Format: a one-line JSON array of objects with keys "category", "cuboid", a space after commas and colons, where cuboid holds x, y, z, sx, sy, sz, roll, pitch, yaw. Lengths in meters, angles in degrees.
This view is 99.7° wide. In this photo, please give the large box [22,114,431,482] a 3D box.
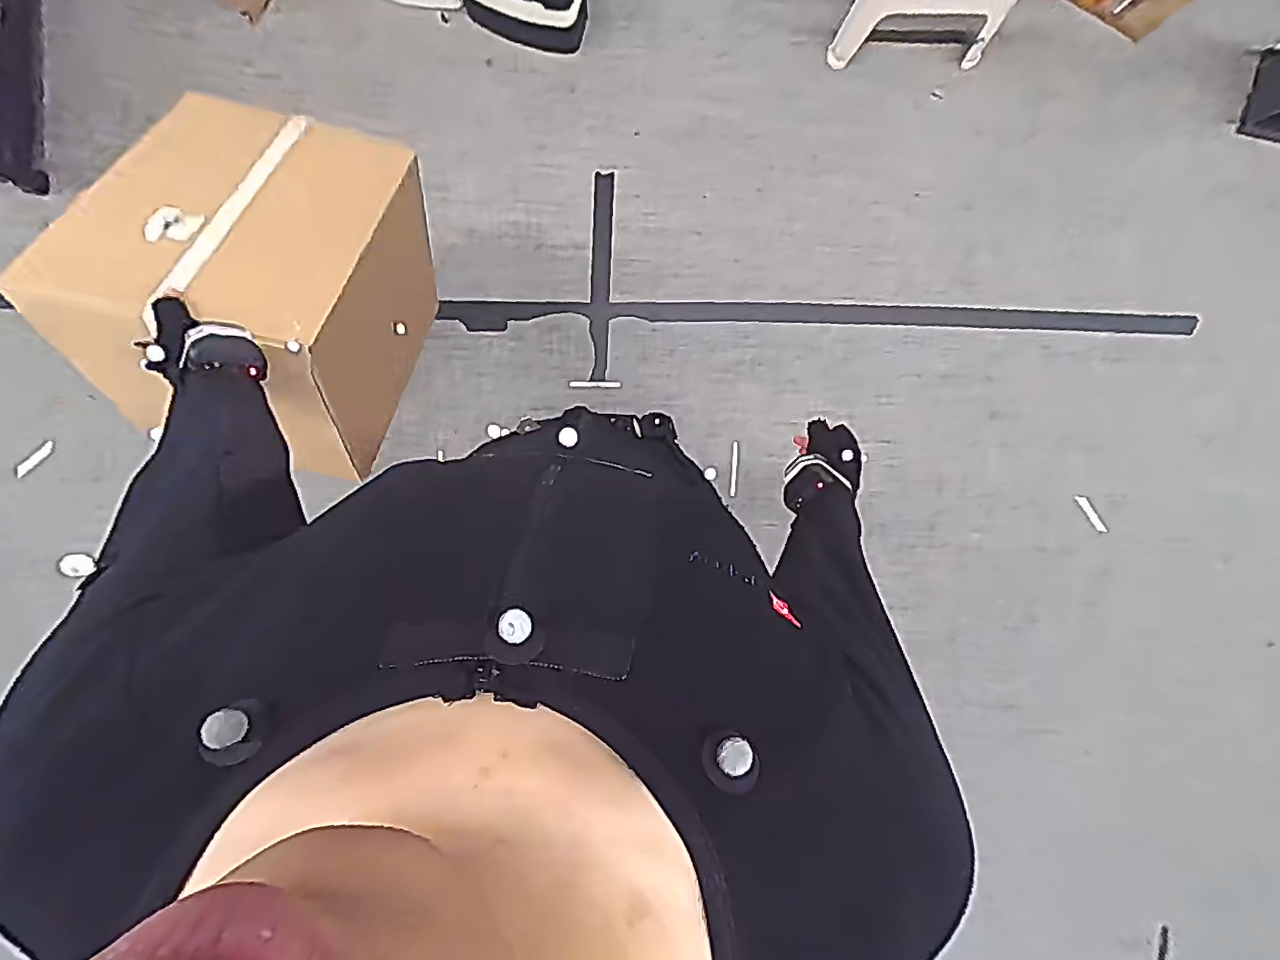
[{"category": "large box", "cuboid": [-0.539, -0.262, 0.830, 0.320, 0.320, 0.408, 10, 59, -7]}]
